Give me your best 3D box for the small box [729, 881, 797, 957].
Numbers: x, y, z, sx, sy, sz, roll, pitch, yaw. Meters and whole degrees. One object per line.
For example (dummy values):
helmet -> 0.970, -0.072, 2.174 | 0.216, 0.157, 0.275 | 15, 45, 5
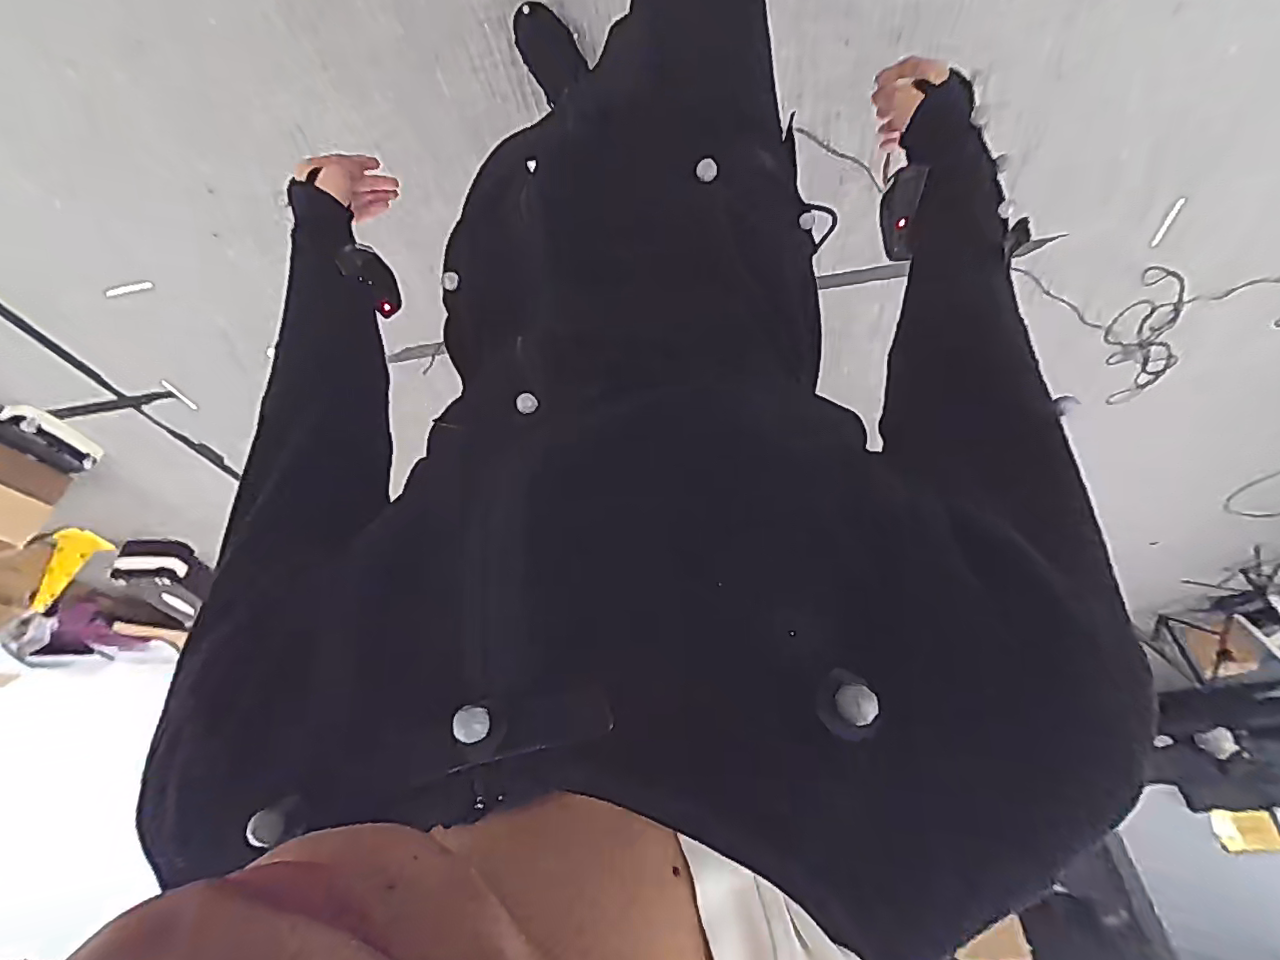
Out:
small box -> 0.377, 1.333, 1.653 | 0.168, 0.176, 0.179 | -13, 143, 14

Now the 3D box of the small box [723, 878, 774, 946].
small box -> 0.375, 1.460, 1.833 | 0.179, 0.176, 0.168 | -7, 145, 6
